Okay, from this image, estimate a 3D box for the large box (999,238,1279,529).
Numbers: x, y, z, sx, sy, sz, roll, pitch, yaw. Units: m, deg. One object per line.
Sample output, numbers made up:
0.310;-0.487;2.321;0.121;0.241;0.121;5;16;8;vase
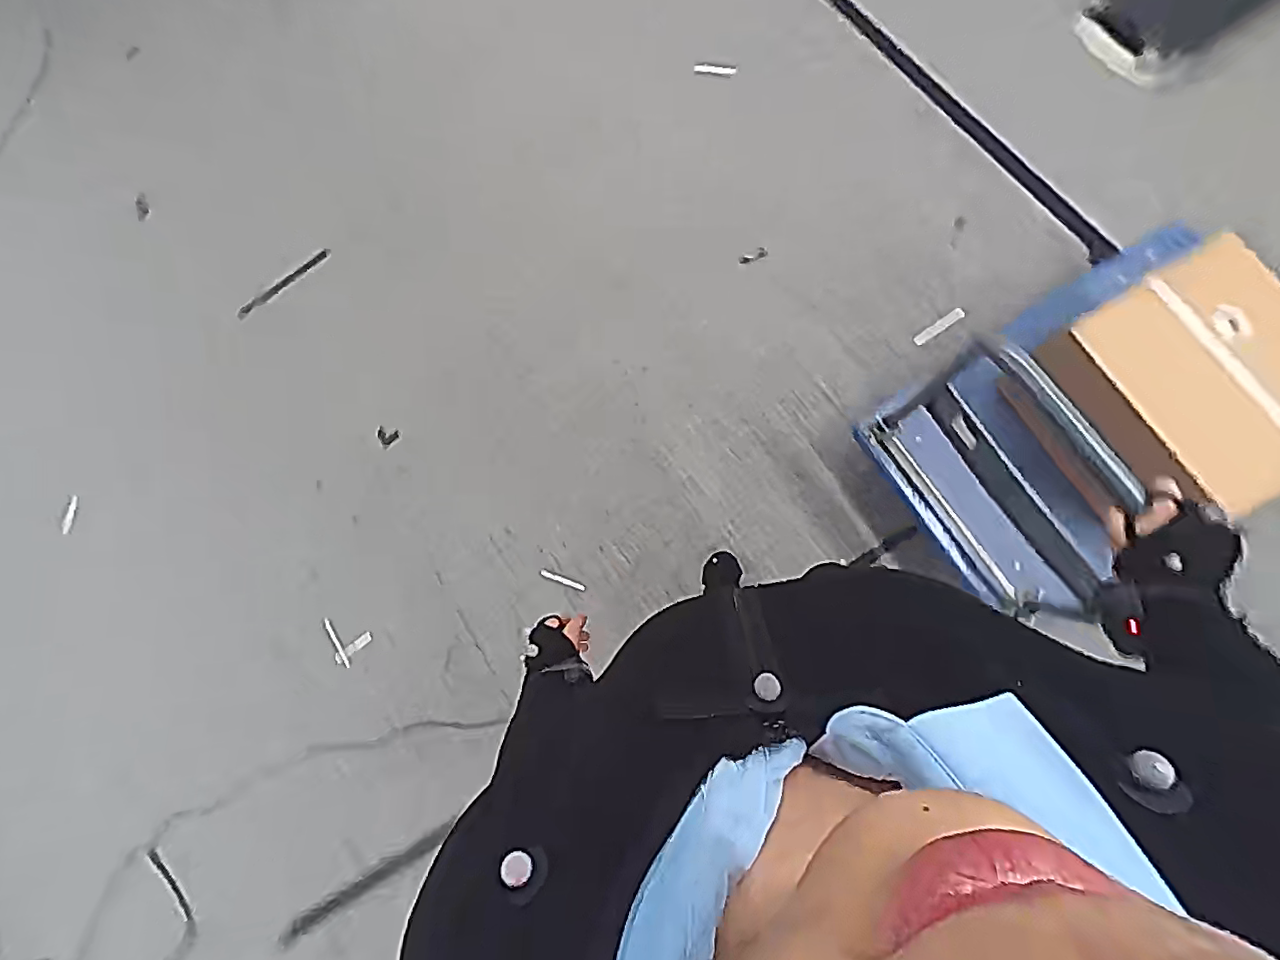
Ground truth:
1.019;-0.156;1.048;0.320;0.320;0.408;-31;77;4;large box
